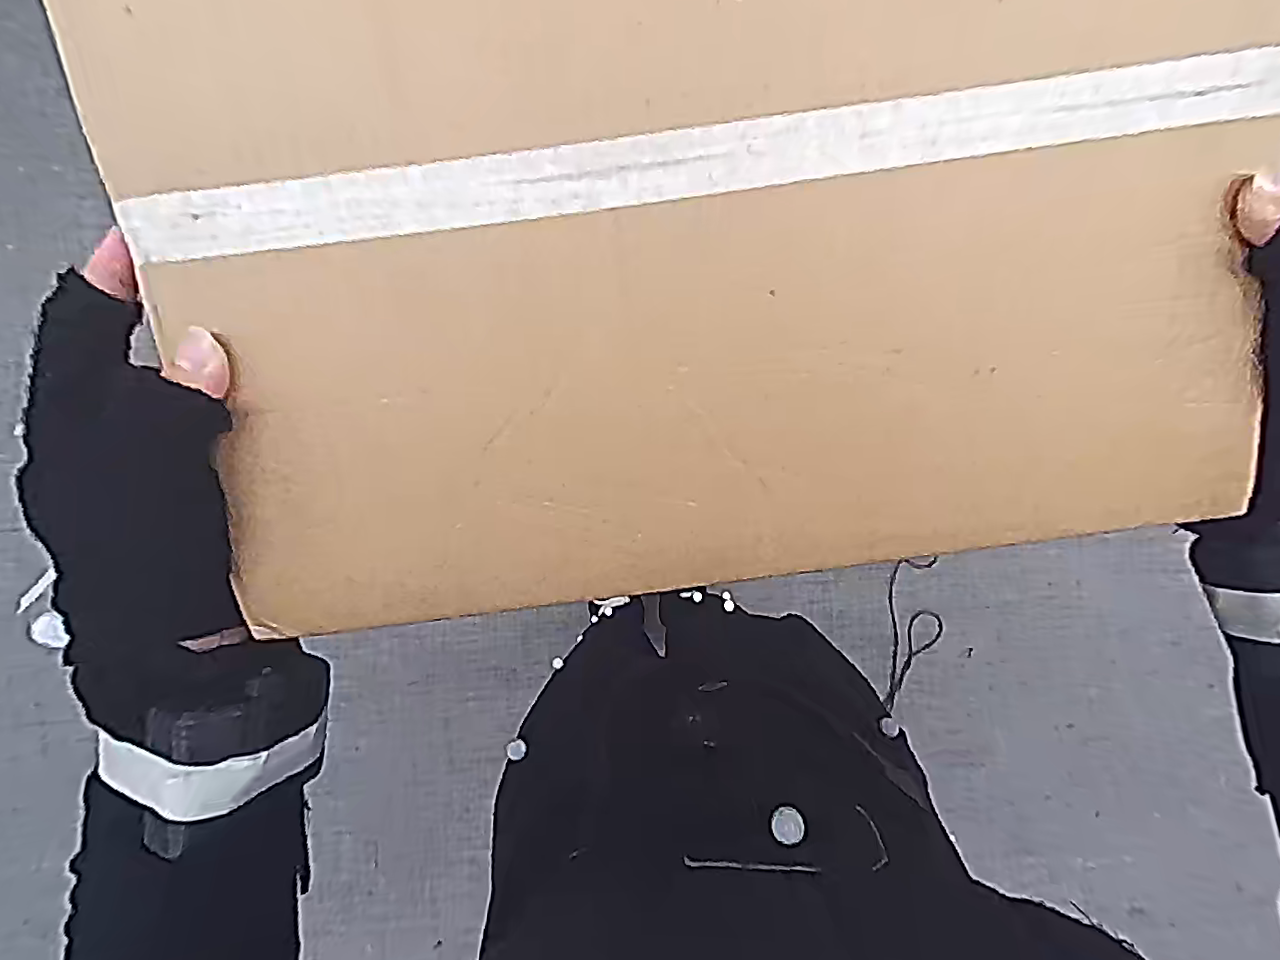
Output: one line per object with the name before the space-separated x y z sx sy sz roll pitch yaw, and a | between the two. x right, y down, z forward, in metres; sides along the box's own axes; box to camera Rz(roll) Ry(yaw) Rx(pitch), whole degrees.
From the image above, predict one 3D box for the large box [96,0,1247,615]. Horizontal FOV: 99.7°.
large box | 0.018 -0.148 0.347 0.408 0.320 0.320 -7 102 0
